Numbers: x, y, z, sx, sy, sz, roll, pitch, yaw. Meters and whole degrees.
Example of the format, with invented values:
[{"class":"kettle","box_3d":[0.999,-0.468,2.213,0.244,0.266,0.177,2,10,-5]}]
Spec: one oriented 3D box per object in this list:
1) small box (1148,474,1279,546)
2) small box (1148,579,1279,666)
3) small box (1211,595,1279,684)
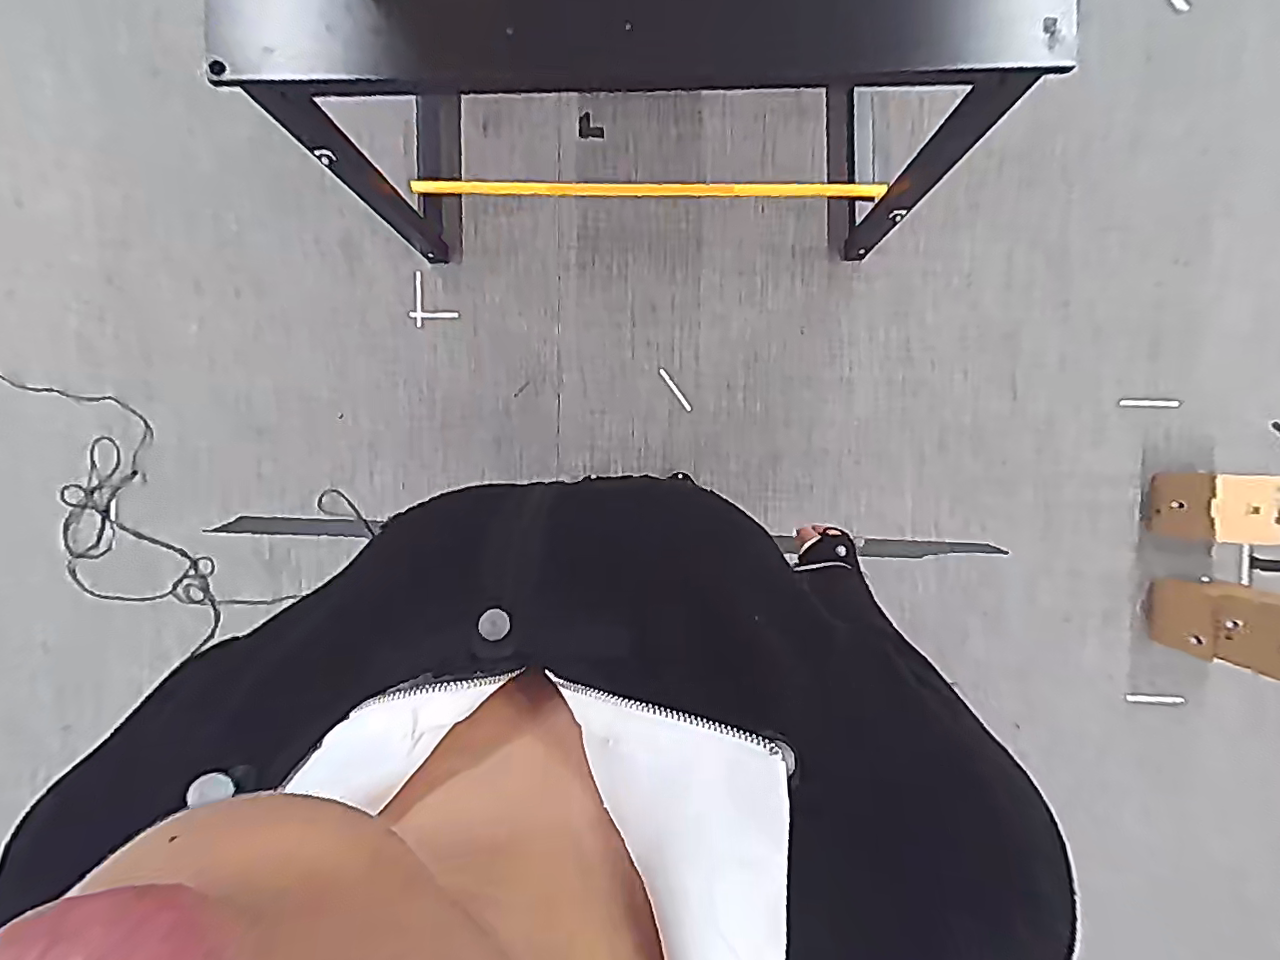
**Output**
[{"class":"small box","box_3d":[1.450,0.072,1.372,0.179,0.176,0.168,3,91,2]},{"class":"small box","box_3d":[1.453,0.359,1.379,0.168,0.176,0.179,0,92,1]},{"class":"small box","box_3d":[1.461,0.359,1.216,0.179,0.176,0.168,2,91,3]}]
